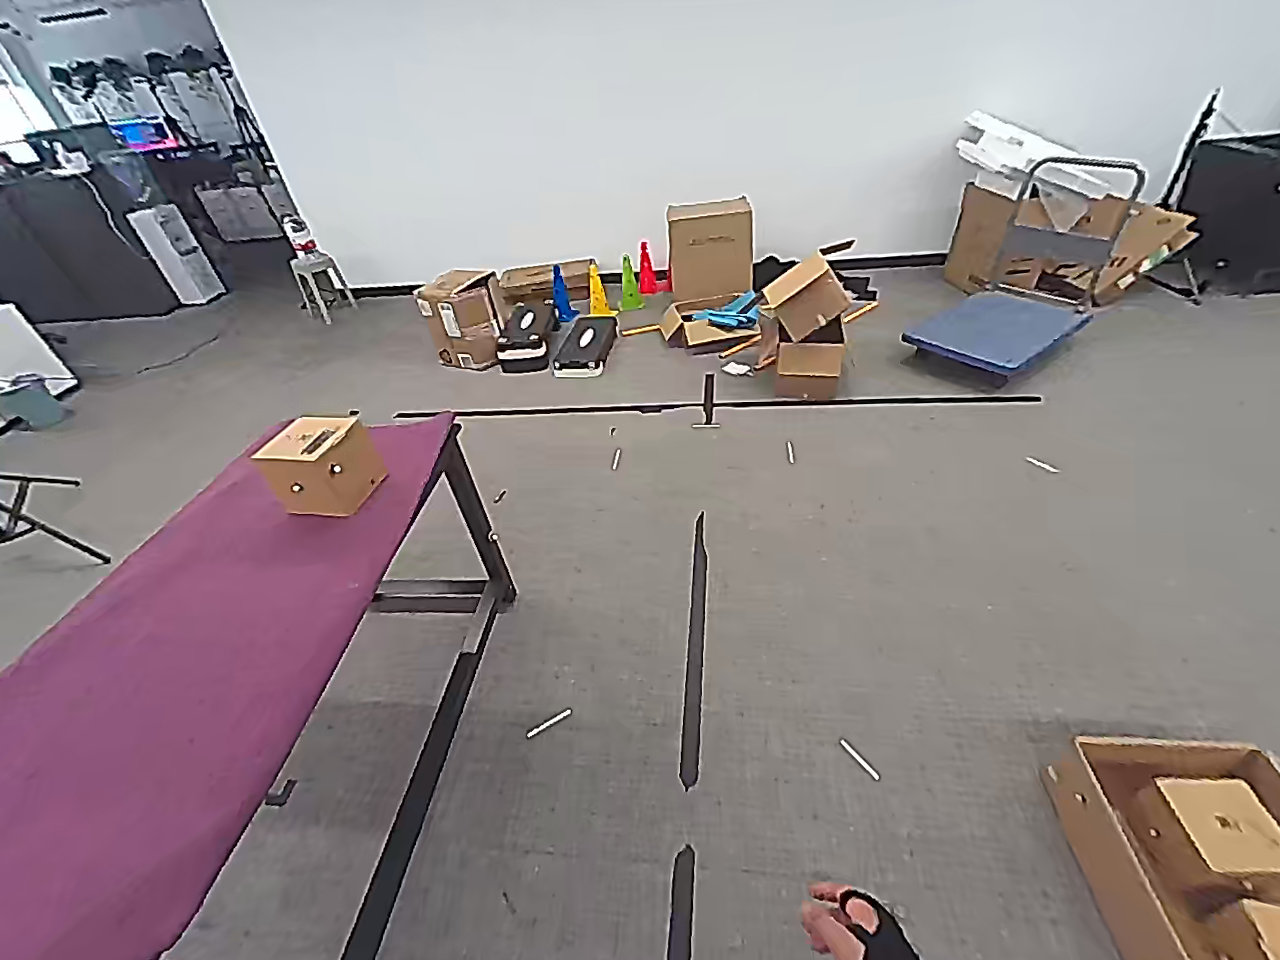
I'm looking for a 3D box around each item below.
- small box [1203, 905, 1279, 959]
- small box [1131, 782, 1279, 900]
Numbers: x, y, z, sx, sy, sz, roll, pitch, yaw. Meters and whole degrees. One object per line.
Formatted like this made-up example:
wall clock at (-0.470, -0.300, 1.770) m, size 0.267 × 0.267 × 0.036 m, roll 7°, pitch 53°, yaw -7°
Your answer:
small box at (1.182, 0.889, 0.955) m, size 0.179 × 0.176 × 0.168 m, roll 2°, pitch 39°, yaw 12°
small box at (1.181, 0.749, 1.123) m, size 0.179 × 0.176 × 0.168 m, roll -2°, pitch 41°, yaw 6°
